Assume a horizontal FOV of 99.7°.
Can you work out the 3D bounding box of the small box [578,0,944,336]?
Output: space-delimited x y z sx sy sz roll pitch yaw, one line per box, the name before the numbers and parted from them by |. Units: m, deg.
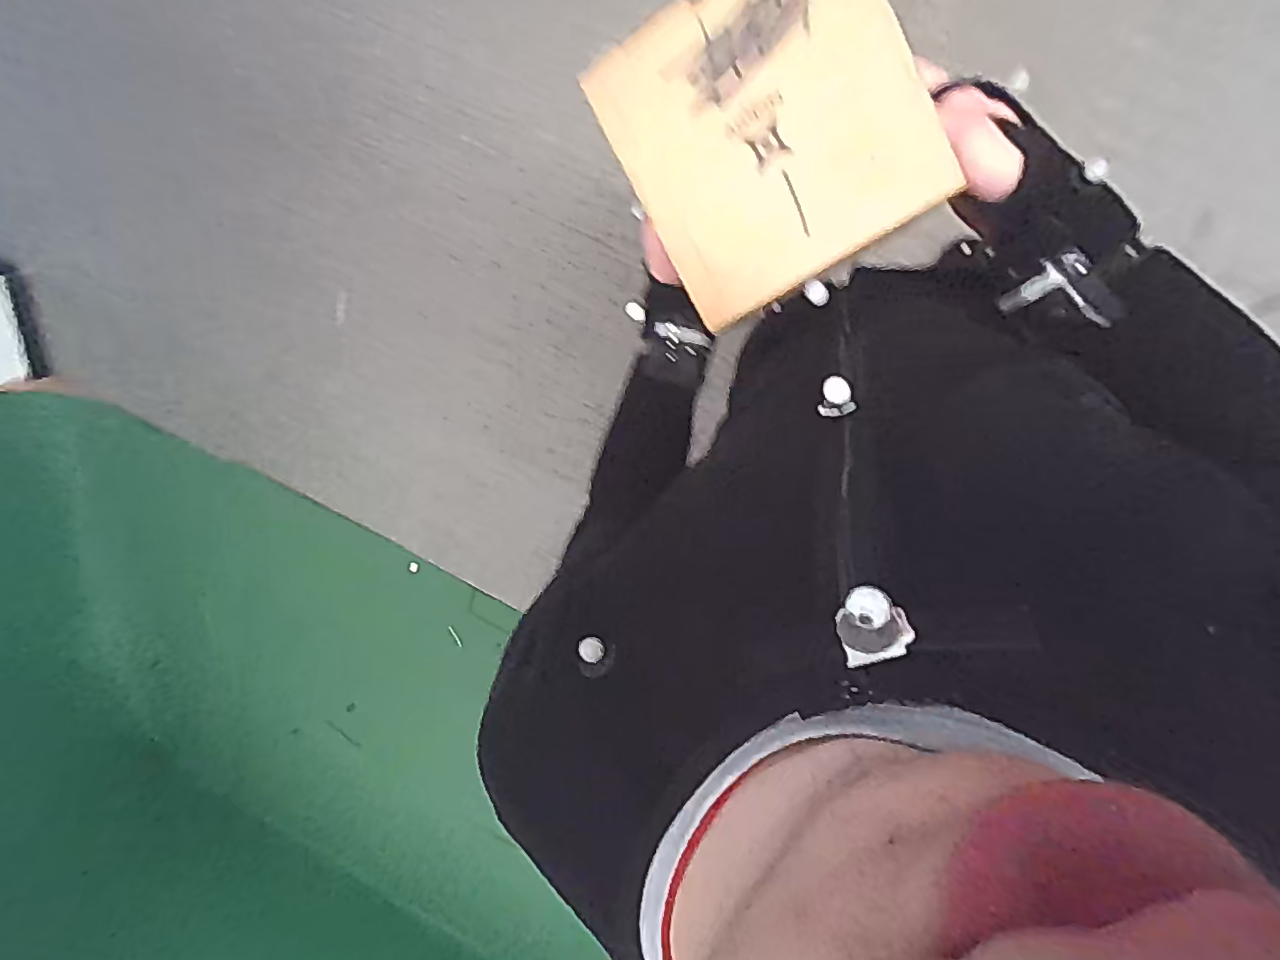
small box | 0.084 -0.223 0.396 0.168 0.176 0.179 -24 101 20
